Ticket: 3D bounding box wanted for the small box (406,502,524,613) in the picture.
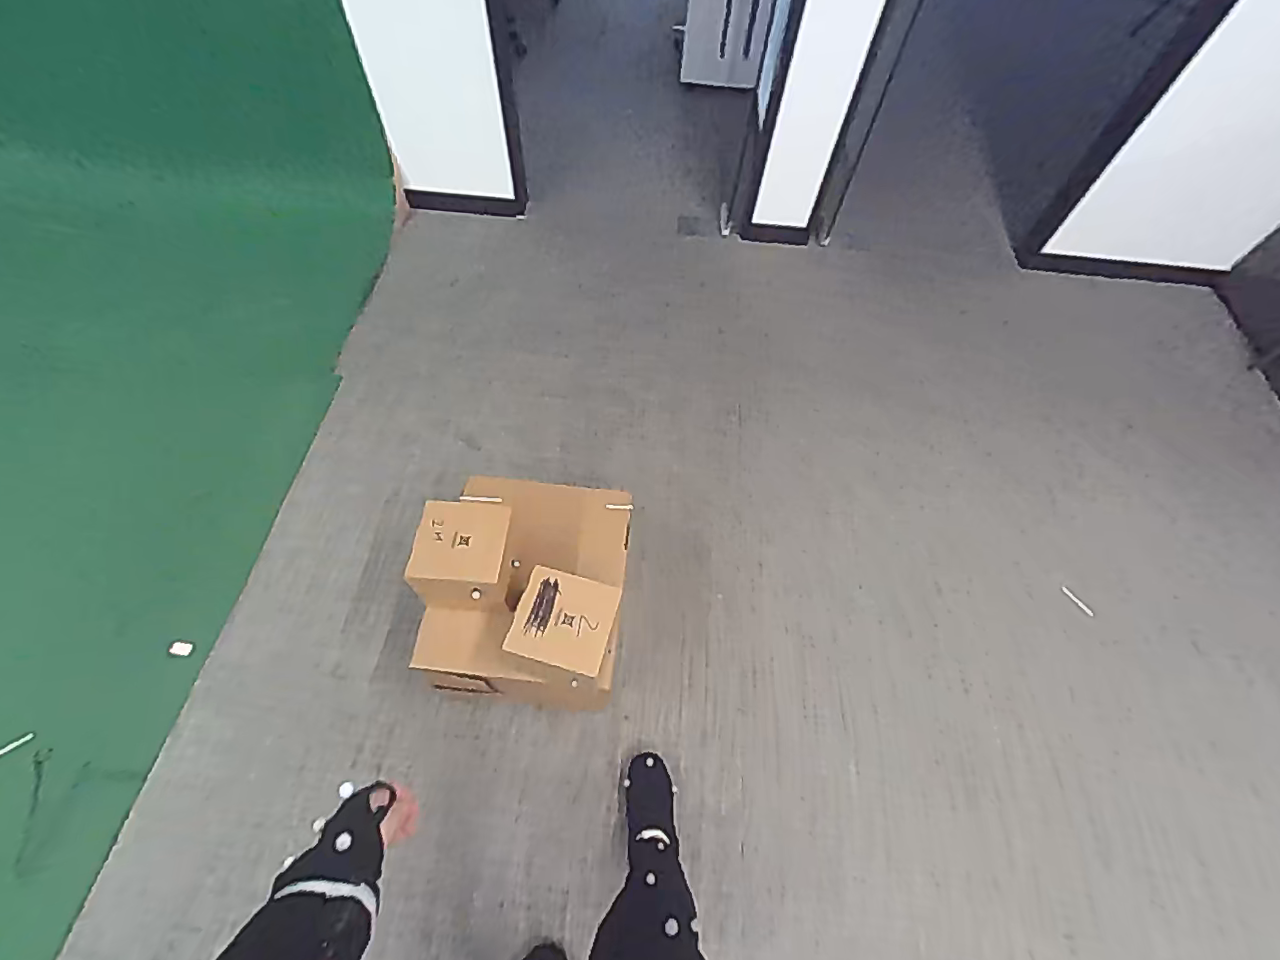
[{"bbox_3d":[-0.342,0.164,1.102,0.179,0.176,0.168,5,57,0],"label":"small box"}]
